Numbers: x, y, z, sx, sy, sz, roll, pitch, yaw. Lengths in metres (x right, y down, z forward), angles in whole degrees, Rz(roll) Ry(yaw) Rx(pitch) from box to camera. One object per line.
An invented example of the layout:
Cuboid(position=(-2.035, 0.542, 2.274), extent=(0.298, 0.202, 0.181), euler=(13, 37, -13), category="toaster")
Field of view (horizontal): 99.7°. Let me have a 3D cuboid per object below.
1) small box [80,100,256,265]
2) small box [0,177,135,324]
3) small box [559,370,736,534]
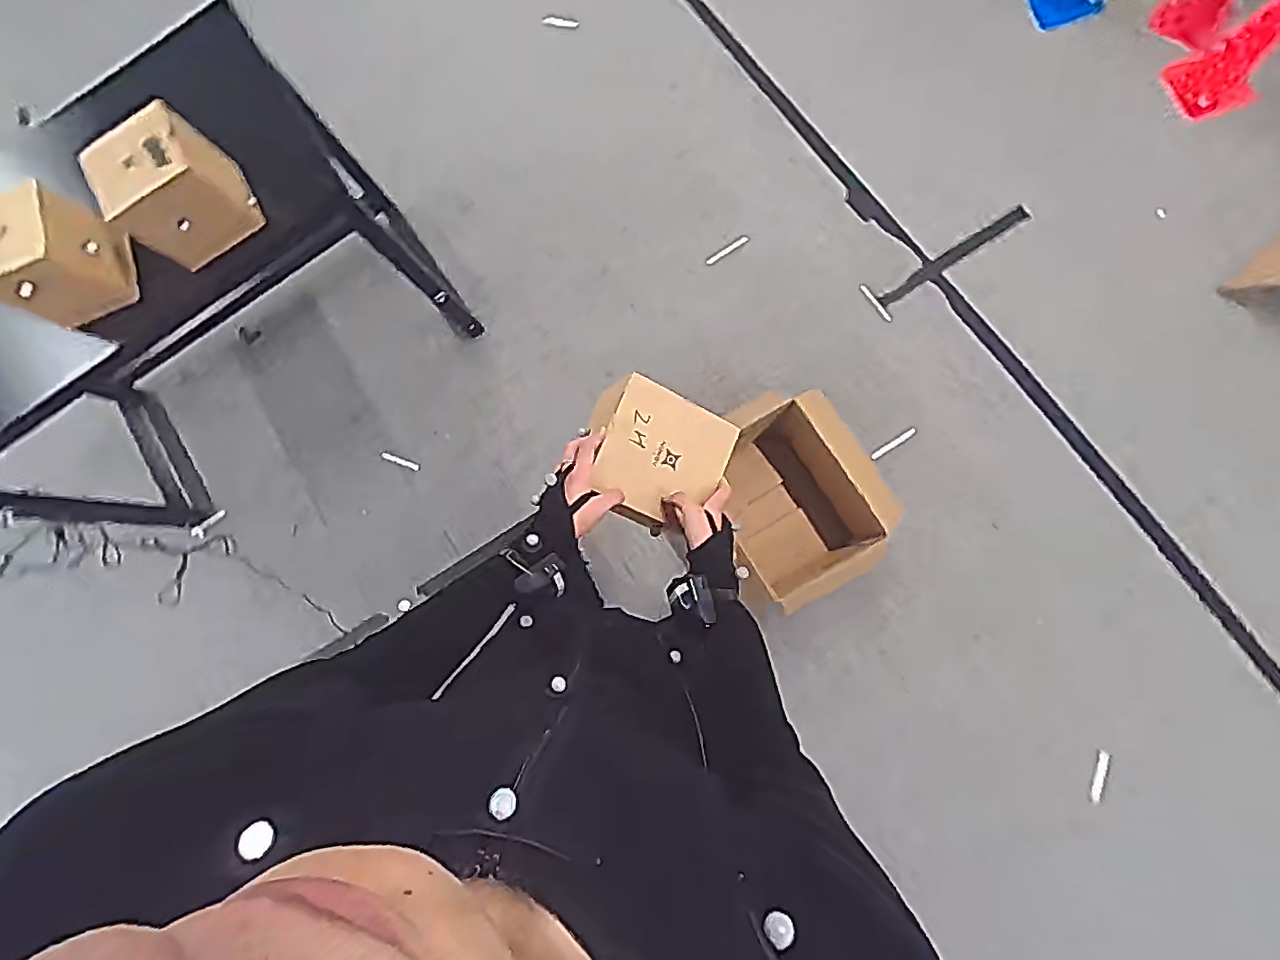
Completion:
Cuboid(position=(-0.875, -0.552, 1.025), extent=(0.179, 0.176, 0.168), euler=(-32, 79, 3), category="small box")
Cuboid(position=(-1.128, -0.430, 1.042), extent=(0.179, 0.176, 0.168), euler=(-20, 80, 5), category="small box")
Cuboid(position=(0.002, -0.034, 0.778), extent=(0.179, 0.176, 0.168), euler=(24, 81, -16), category="small box")
